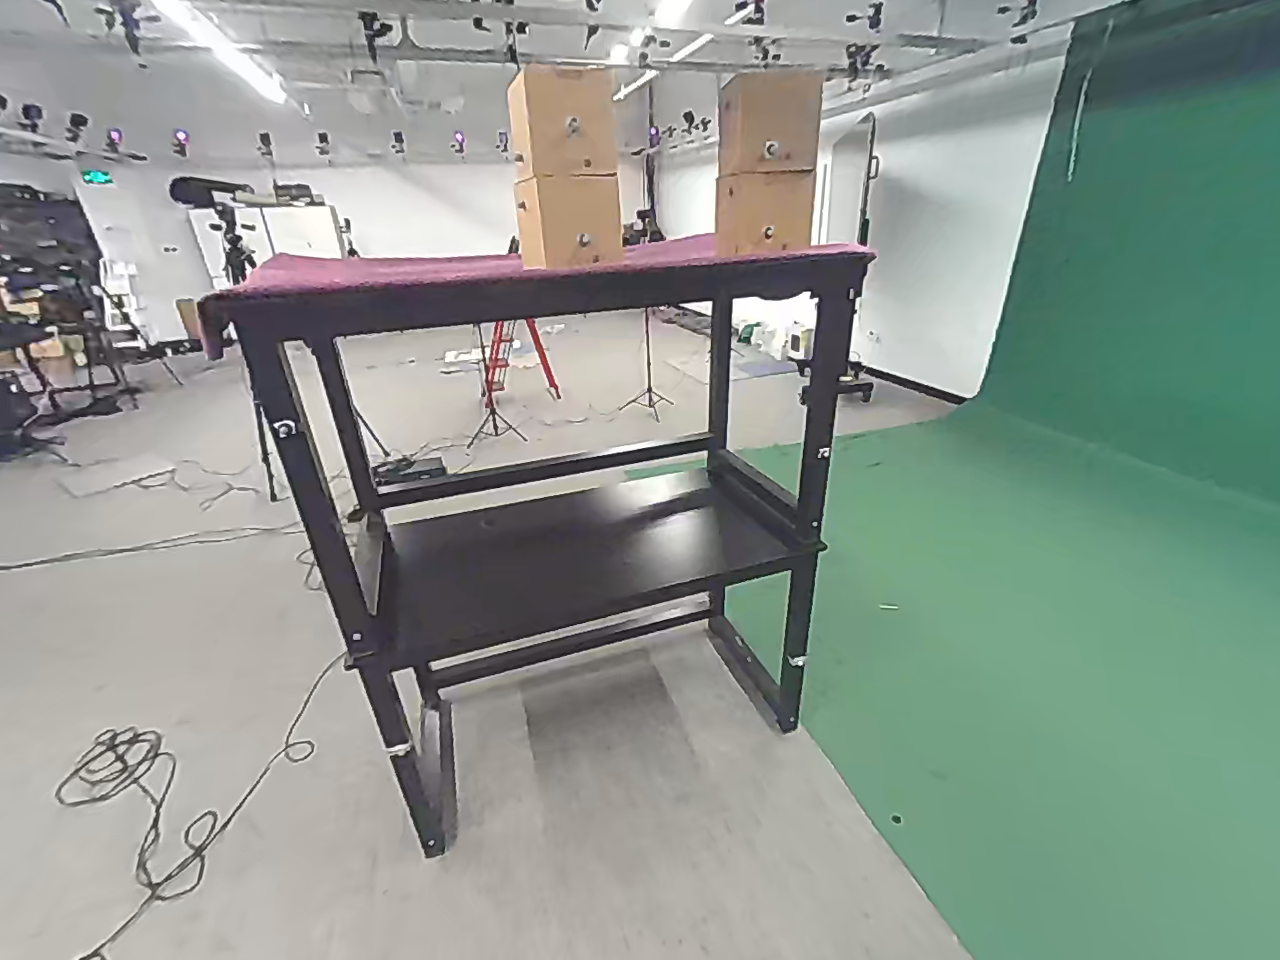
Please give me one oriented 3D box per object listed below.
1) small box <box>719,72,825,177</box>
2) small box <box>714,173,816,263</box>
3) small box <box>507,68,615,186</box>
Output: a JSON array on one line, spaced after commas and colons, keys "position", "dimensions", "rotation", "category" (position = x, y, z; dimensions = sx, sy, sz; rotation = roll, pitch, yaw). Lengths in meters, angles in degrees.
[{"position": [0.258, -0.711, 1.103], "dimensions": [0.168, 0.176, 0.179], "rotation": [-6, 28, -3], "category": "small box"}, {"position": [0.262, -0.570, 1.181], "dimensions": [0.168, 0.176, 0.179], "rotation": [-6, 28, -7], "category": "small box"}, {"position": [-0.151, -0.669, 1.040], "dimensions": [0.168, 0.176, 0.179], "rotation": [-11, 27, -18], "category": "small box"}]
